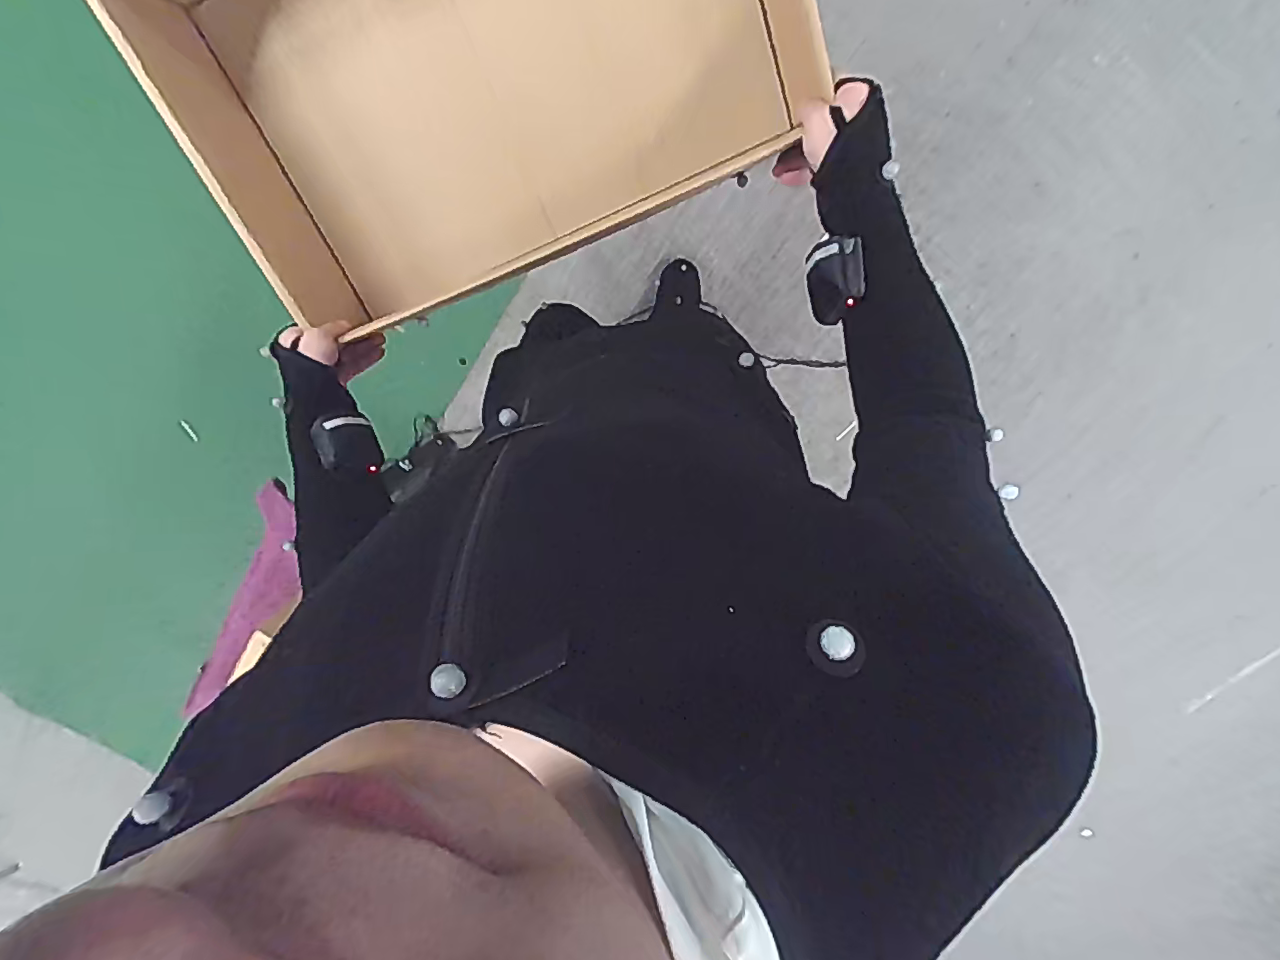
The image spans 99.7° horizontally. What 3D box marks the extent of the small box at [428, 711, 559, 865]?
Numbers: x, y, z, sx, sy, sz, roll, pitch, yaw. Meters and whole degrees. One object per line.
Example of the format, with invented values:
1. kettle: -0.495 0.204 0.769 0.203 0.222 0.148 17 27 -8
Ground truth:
1. small box: -0.282 0.606 1.075 0.168 0.176 0.179 33 111 -7

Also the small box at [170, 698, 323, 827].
1. small box: -0.795 0.553 1.109 0.168 0.176 0.179 35 109 -10

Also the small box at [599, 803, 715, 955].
1. small box: 0.038 0.814 1.116 0.168 0.176 0.179 33 112 -6
